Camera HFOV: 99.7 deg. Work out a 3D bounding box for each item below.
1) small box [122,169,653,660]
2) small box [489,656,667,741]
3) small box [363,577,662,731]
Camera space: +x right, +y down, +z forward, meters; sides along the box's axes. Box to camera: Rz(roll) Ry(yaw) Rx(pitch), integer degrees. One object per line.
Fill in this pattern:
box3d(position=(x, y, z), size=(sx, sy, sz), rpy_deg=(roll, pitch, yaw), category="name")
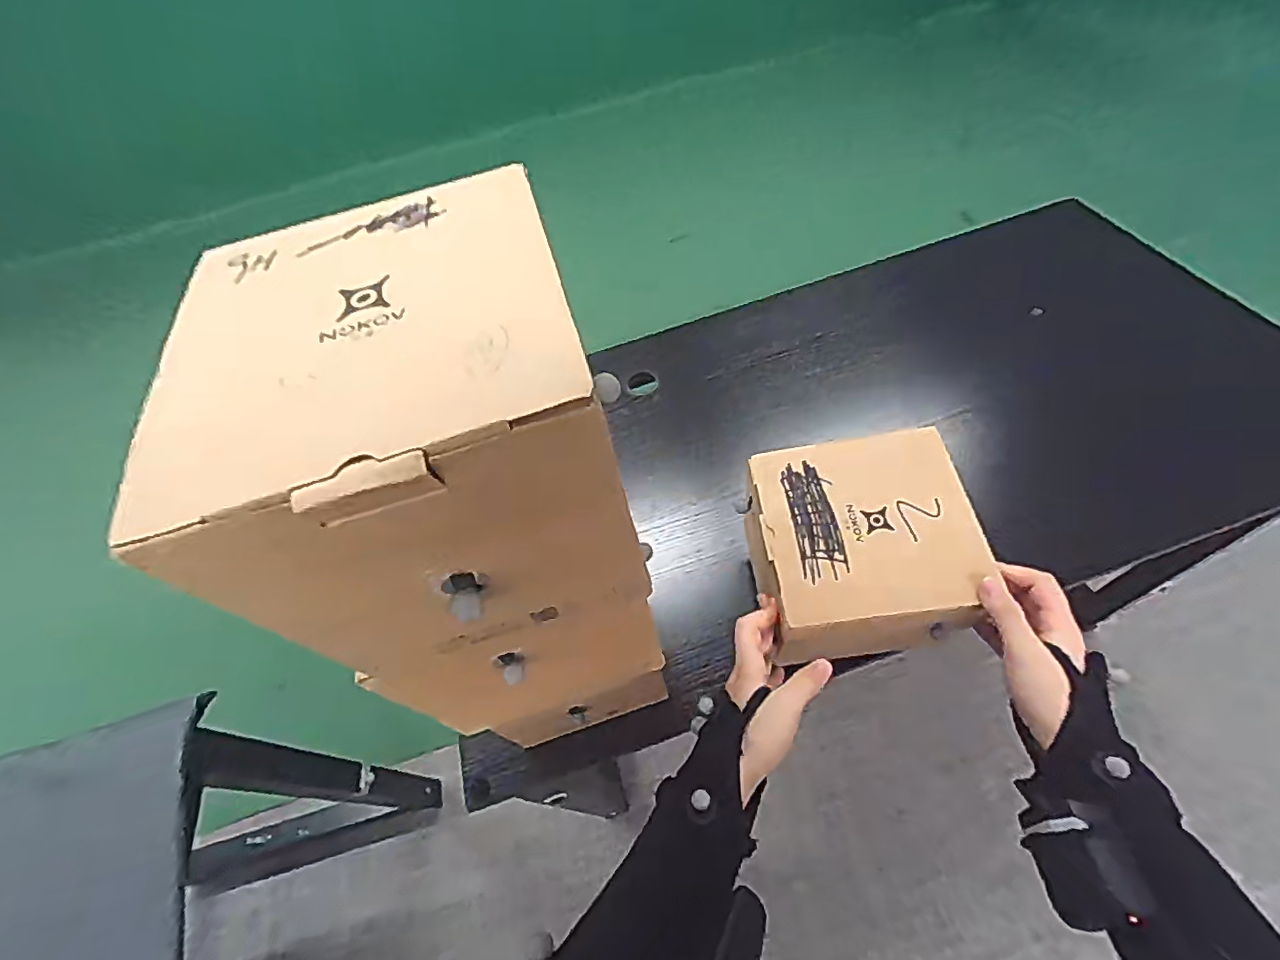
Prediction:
box3d(position=(-0.098, -0.020, 0.286), size=(0.168, 0.176, 0.179), rpy_deg=(-17, 56, -2), category="small box")
box3d(position=(-0.076, 0.154, 0.562), size=(0.168, 0.176, 0.179), rpy_deg=(-18, 55, -4), category="small box")
box3d(position=(-0.087, 0.074, 0.421), size=(0.179, 0.176, 0.168), rpy_deg=(-18, 55, -3), category="small box")
